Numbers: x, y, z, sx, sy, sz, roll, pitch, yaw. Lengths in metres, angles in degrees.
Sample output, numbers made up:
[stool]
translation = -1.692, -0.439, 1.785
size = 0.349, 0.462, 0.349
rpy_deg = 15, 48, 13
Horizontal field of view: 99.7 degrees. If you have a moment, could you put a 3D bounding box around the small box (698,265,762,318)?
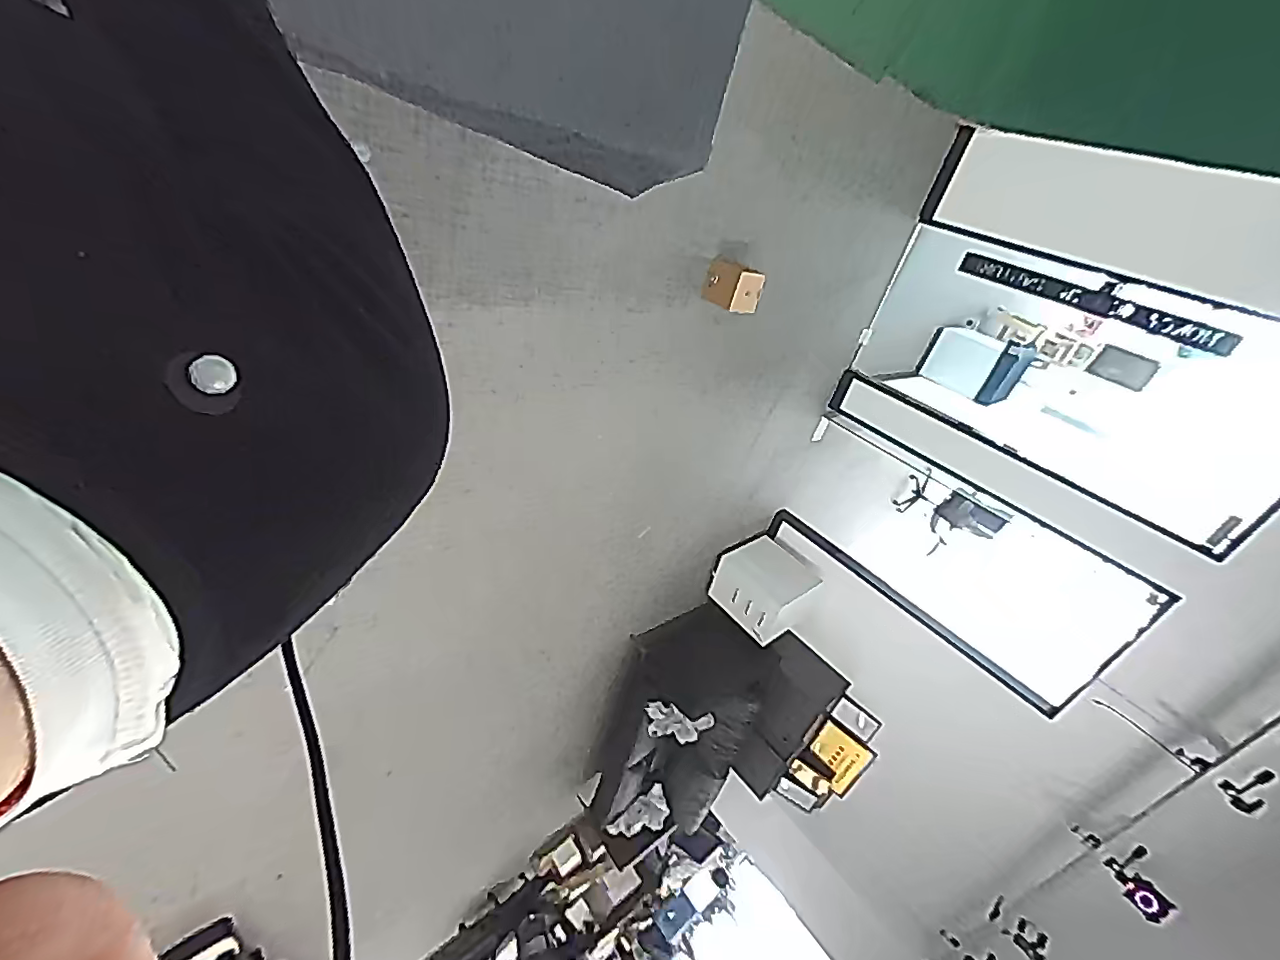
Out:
[small box]
translation = 0.379, -0.798, 2.289
size = 0.179, 0.176, 0.168
rpy_deg = -10, 128, -43
